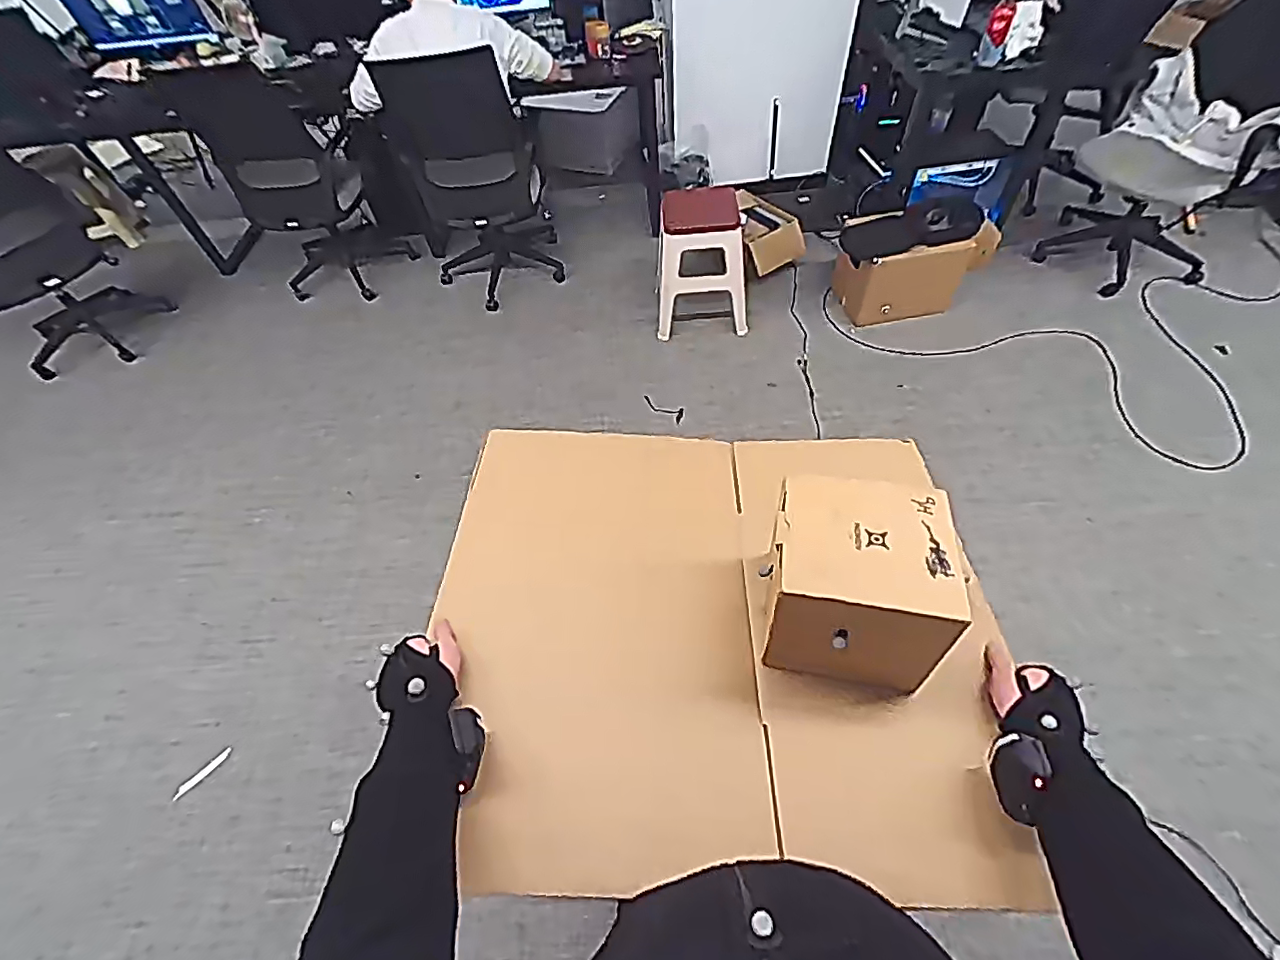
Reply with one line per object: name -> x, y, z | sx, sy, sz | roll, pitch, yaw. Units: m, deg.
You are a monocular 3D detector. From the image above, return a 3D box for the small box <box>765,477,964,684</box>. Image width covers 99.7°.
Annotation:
small box -> 0.244, 0.118, 0.630 | 0.179, 0.176, 0.168 | 6, 49, 12
